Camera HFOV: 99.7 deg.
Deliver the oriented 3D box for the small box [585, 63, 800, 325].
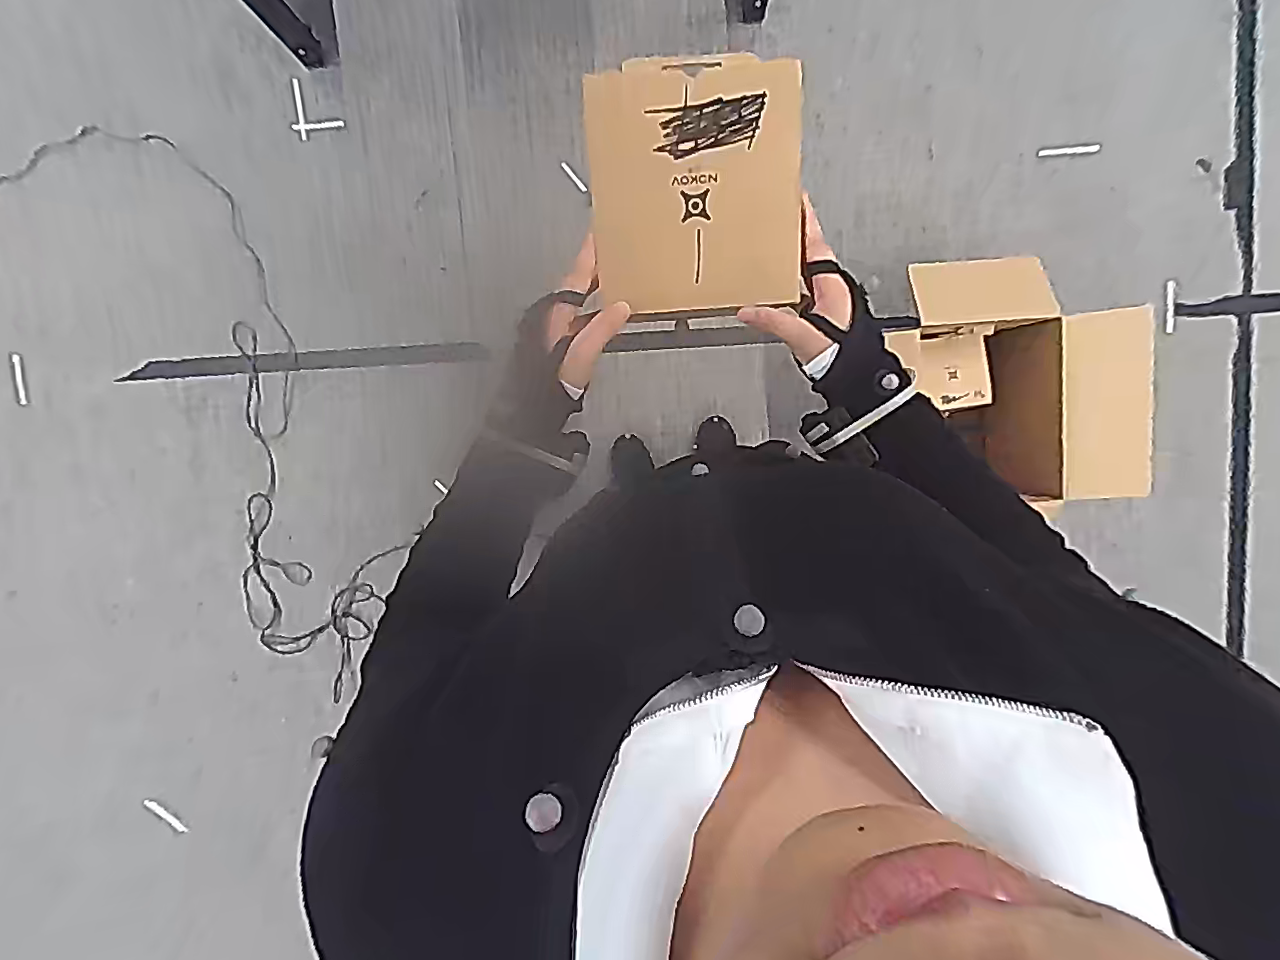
[{"bbox_3d":[0.041,-0.242,0.500,0.168,0.176,0.179,-4,104,0],"label":"small box"}]
